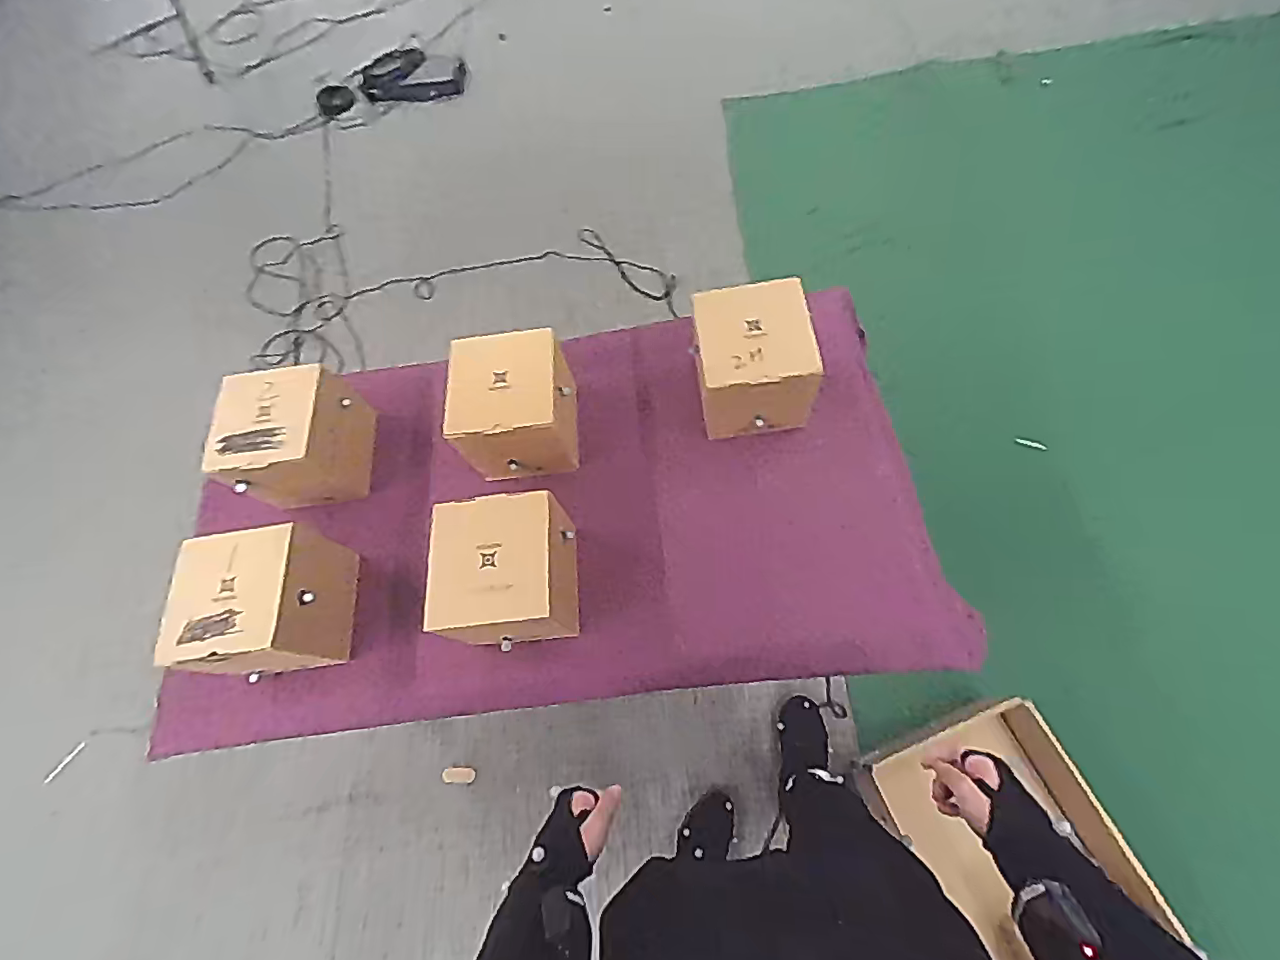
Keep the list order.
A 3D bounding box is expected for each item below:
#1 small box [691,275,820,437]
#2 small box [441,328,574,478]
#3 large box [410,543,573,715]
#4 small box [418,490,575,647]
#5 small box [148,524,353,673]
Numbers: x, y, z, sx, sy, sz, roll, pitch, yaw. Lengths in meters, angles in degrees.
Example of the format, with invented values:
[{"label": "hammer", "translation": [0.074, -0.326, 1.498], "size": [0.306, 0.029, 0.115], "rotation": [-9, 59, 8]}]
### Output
[{"label": "small box", "translation": [0.174, -0.190, 0.859], "size": [0.168, 0.176, 0.179], "rotation": [-8, 67, 6]}, {"label": "small box", "translation": [-0.206, -0.119, 0.882], "size": [0.168, 0.176, 0.179], "rotation": [-6, 68, 4]}, {"label": "large box", "translation": [-0.369, 0.378, 1.415], "size": [0.320, 0.320, 0.408], "rotation": [-8, 65, 3]}, {"label": "small box", "translation": [-0.192, 0.133, 0.773], "size": [0.168, 0.176, 0.179], "rotation": [-7, 66, 5]}, {"label": "small box", "translation": [-0.551, 0.183, 0.795], "size": [0.168, 0.176, 0.179], "rotation": [-9, 65, 3]}]
